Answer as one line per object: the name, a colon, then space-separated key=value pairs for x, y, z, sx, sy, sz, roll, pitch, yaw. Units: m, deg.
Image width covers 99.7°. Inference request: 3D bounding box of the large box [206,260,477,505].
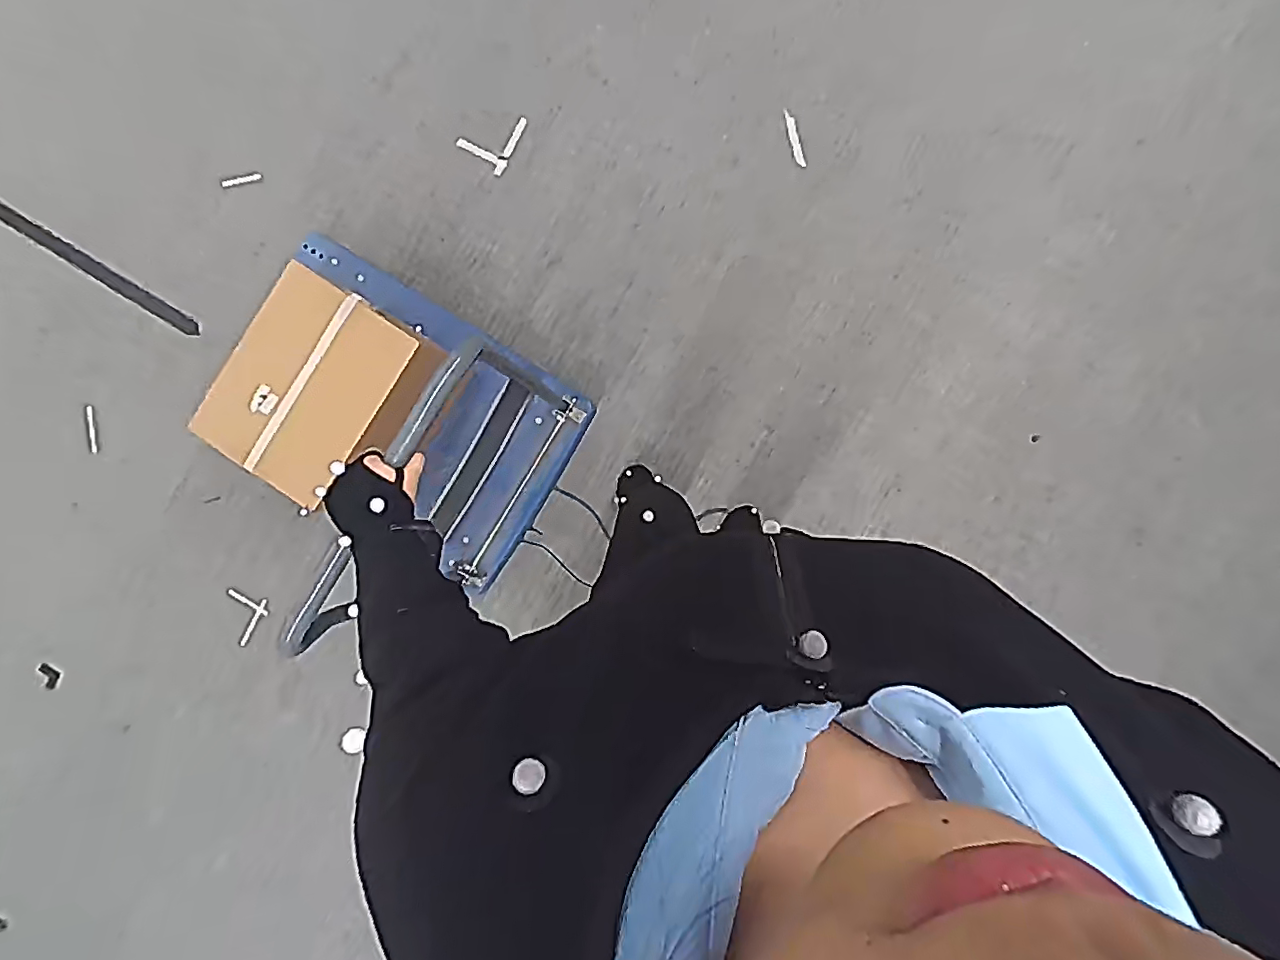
large box: x=-0.645 y=-0.200 z=1.231 sx=0.320 sy=0.320 sz=0.408 roll=34 pitch=93 yaw=3
